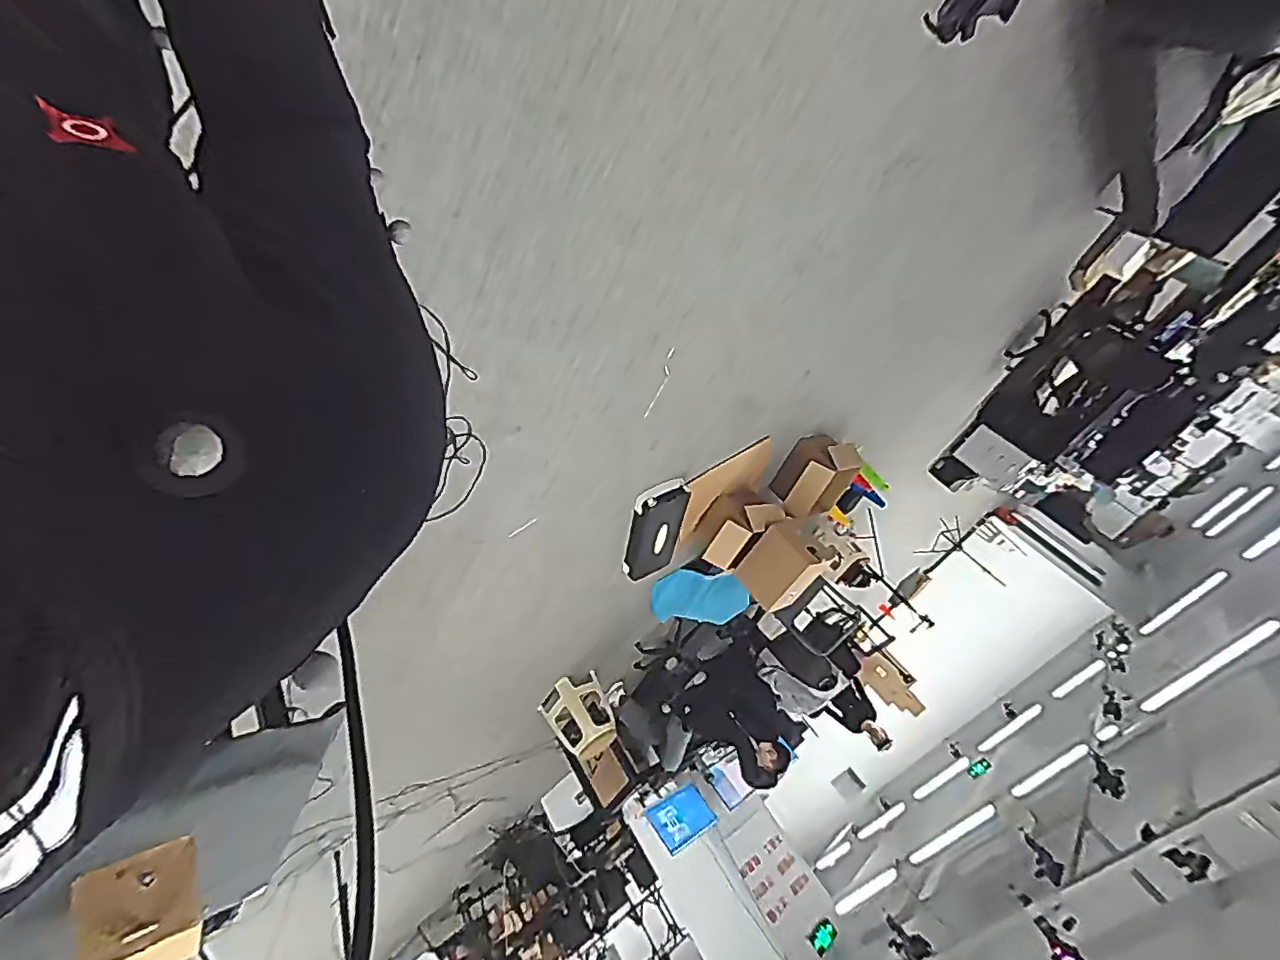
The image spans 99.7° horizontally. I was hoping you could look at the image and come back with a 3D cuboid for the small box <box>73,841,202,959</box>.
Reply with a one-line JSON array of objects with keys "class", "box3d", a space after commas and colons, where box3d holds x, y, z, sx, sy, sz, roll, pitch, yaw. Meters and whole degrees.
[{"class": "small box", "box3d": [-0.934, 0.823, 1.009, 0.168, 0.176, 0.179, -4, 133, -44]}]
